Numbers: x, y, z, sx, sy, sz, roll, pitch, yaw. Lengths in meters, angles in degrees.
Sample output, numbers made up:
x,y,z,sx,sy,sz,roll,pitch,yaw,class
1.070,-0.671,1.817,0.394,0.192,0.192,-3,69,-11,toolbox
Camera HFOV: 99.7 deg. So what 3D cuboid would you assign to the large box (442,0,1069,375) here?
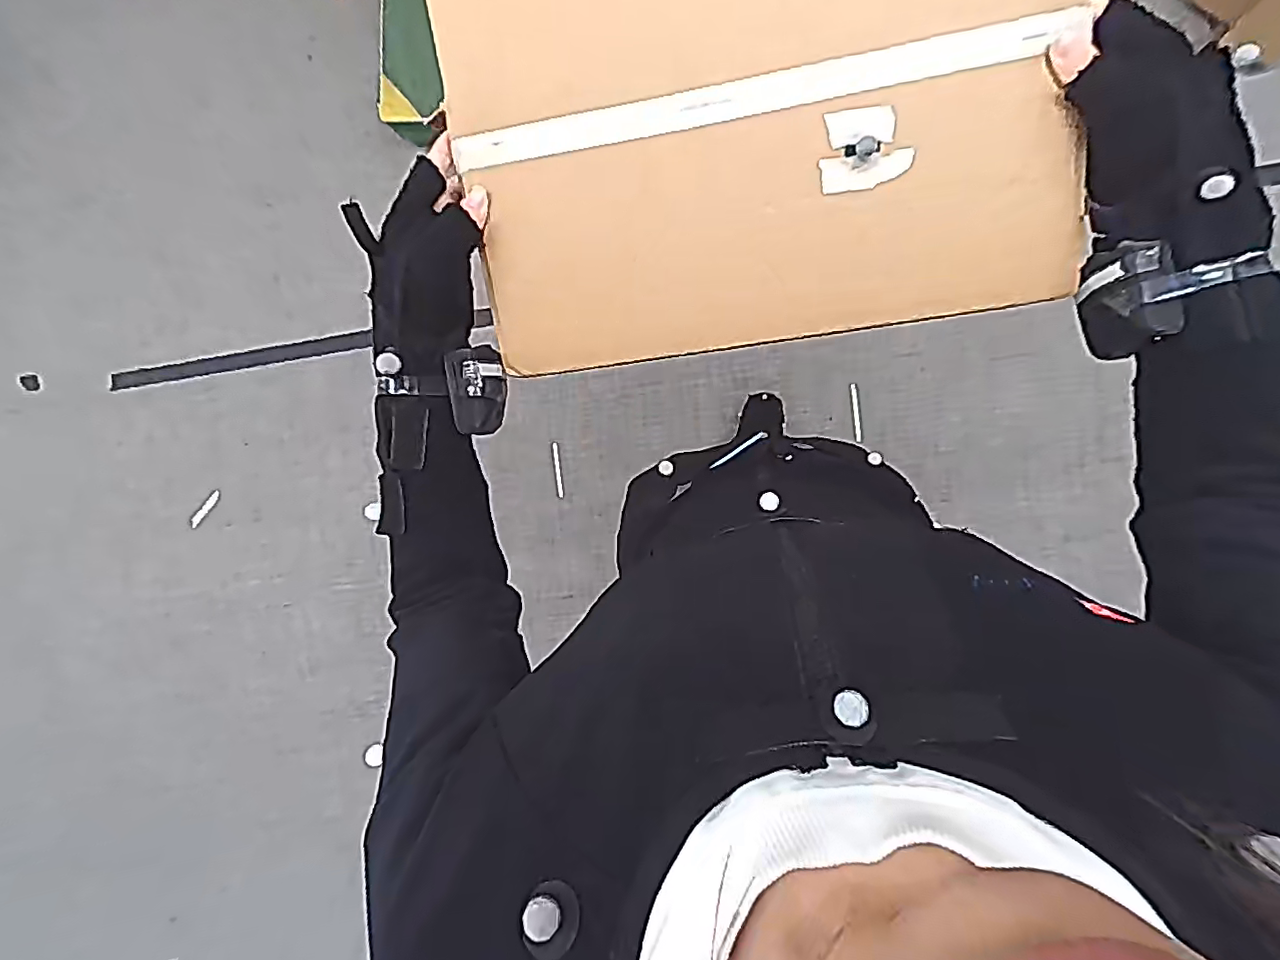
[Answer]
x,y,z,sx,sy,sz,roll,pitch,yaw,class
0.087,-0.294,0.510,0.408,0.320,0.320,-8,105,6,large box
